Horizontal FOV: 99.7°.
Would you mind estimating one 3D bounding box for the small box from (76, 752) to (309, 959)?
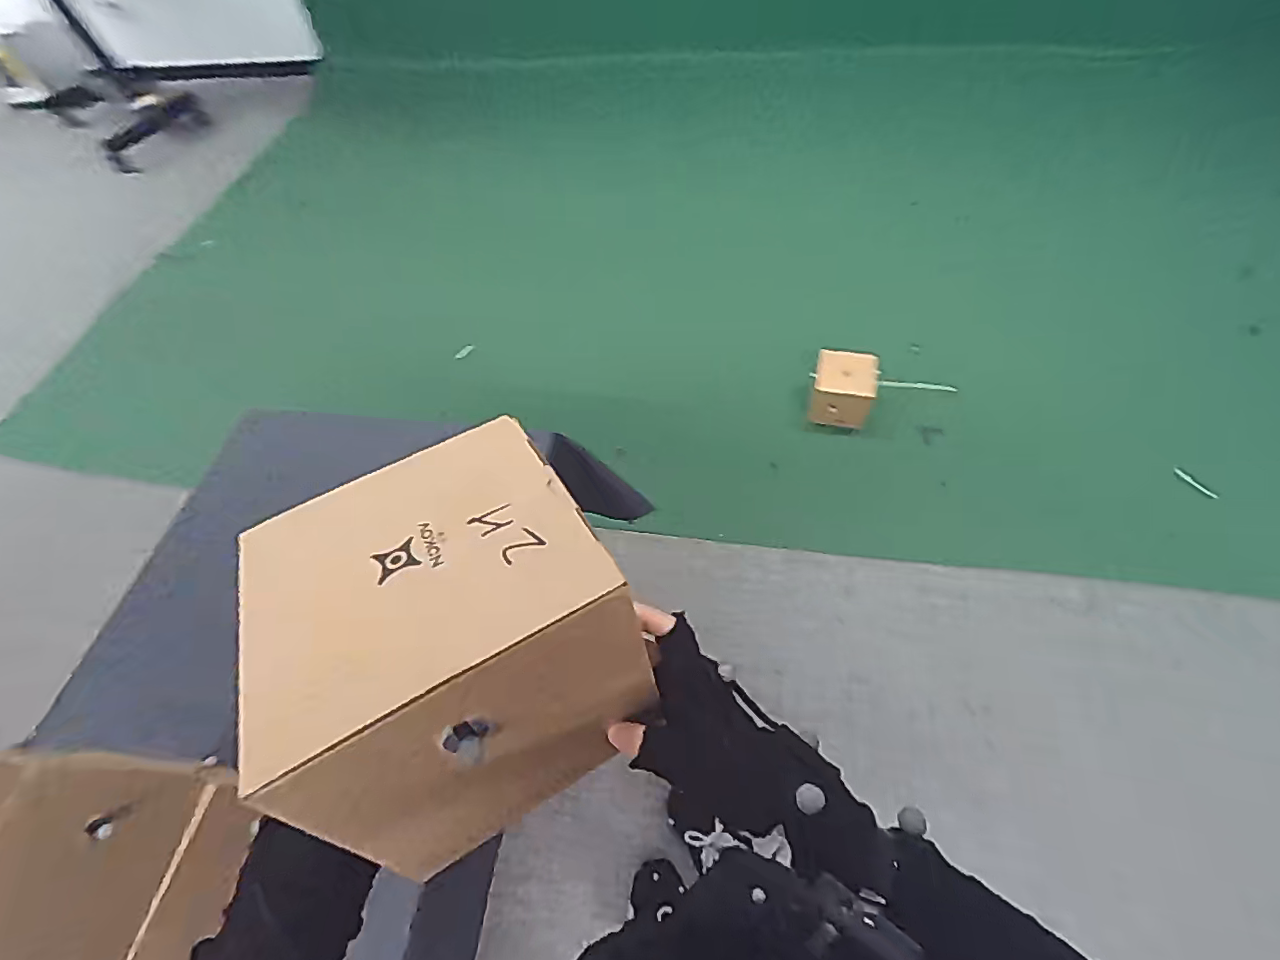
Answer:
[{"bbox_3d":[-0.506,0.401,0.571,0.179,0.176,0.168,6,59,9],"label":"small box"}]

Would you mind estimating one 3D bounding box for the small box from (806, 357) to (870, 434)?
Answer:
[{"bbox_3d":[0.637,-0.270,1.751,0.168,0.176,0.179,9,58,12],"label":"small box"}]

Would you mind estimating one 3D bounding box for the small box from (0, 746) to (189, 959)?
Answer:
[{"bbox_3d":[-0.524,0.317,0.432,0.168,0.176,0.179,3,58,9],"label":"small box"}]

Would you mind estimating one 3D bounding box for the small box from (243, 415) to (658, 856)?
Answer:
[{"bbox_3d":[-0.105,0.094,0.342,0.179,0.176,0.168,-25,45,-15],"label":"small box"}]
